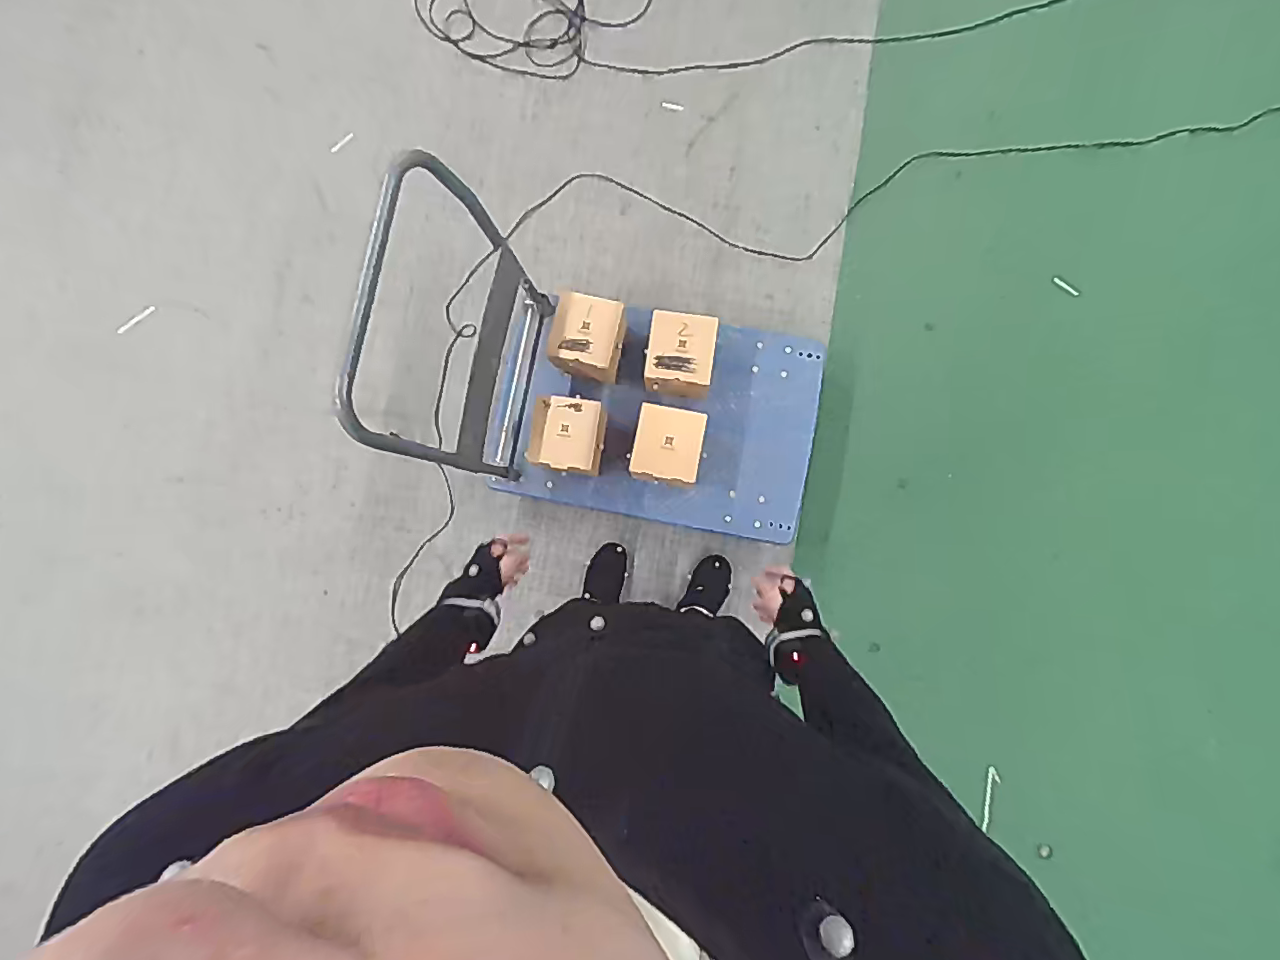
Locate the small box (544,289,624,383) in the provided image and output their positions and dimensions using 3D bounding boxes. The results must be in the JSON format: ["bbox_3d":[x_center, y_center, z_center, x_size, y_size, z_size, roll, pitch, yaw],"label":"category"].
[{"bbox_3d":[-0.139,-0.371,1.427,0.168,0.176,0.179,13,85,2],"label":"small box"}]

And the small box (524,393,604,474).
[{"bbox_3d":[-0.190,-0.113,1.408,0.168,0.176,0.179,9,86,3],"label":"small box"}]
